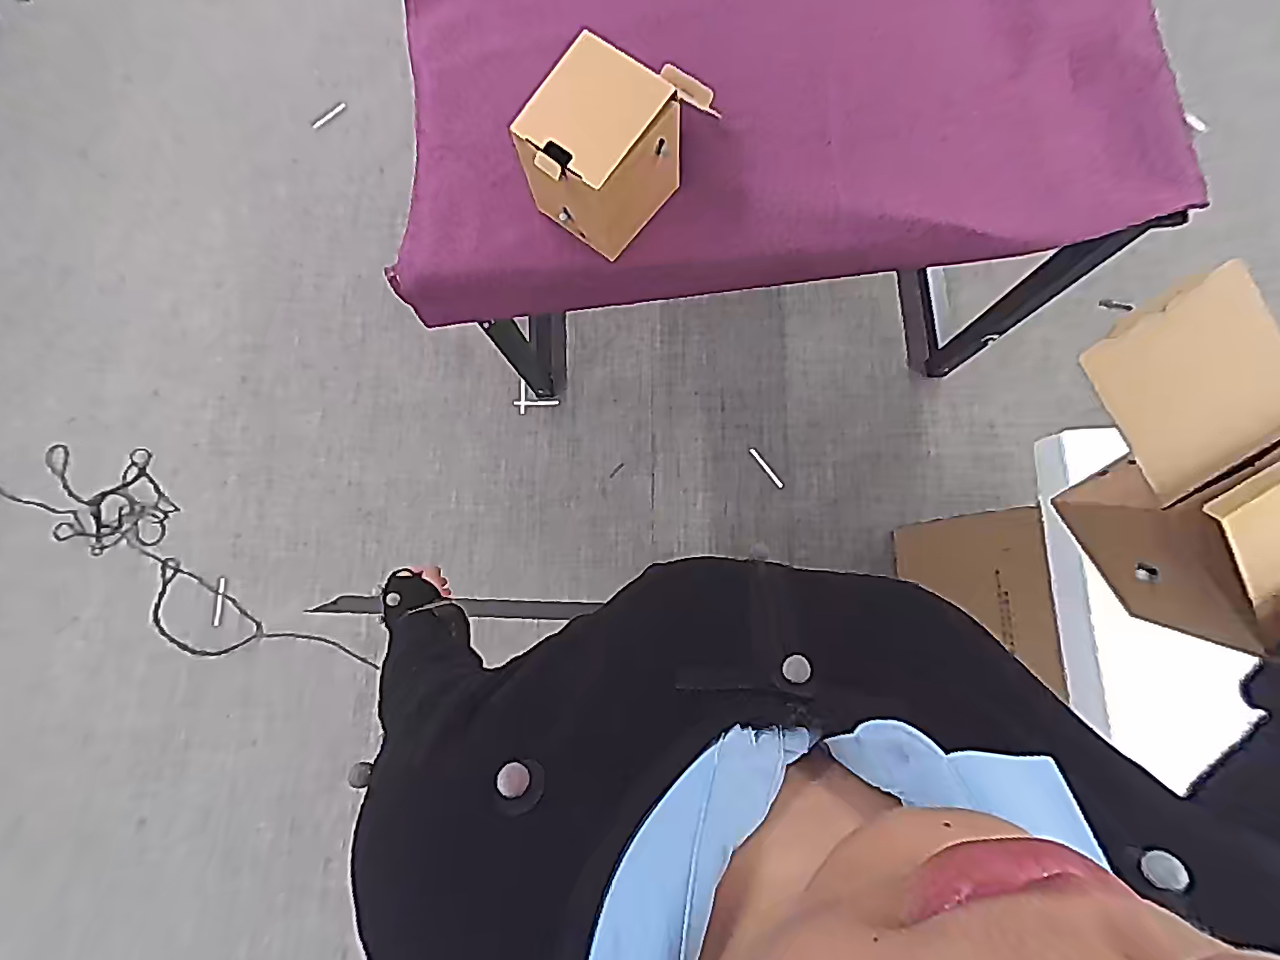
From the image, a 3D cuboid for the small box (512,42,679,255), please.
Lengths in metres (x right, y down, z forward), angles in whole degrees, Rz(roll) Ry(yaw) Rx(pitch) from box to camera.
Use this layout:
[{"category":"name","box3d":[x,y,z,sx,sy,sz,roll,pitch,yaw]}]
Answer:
[{"category":"small box","box3d":[-0.058,-0.486,0.816,0.168,0.176,0.179,39,85,10]}]
